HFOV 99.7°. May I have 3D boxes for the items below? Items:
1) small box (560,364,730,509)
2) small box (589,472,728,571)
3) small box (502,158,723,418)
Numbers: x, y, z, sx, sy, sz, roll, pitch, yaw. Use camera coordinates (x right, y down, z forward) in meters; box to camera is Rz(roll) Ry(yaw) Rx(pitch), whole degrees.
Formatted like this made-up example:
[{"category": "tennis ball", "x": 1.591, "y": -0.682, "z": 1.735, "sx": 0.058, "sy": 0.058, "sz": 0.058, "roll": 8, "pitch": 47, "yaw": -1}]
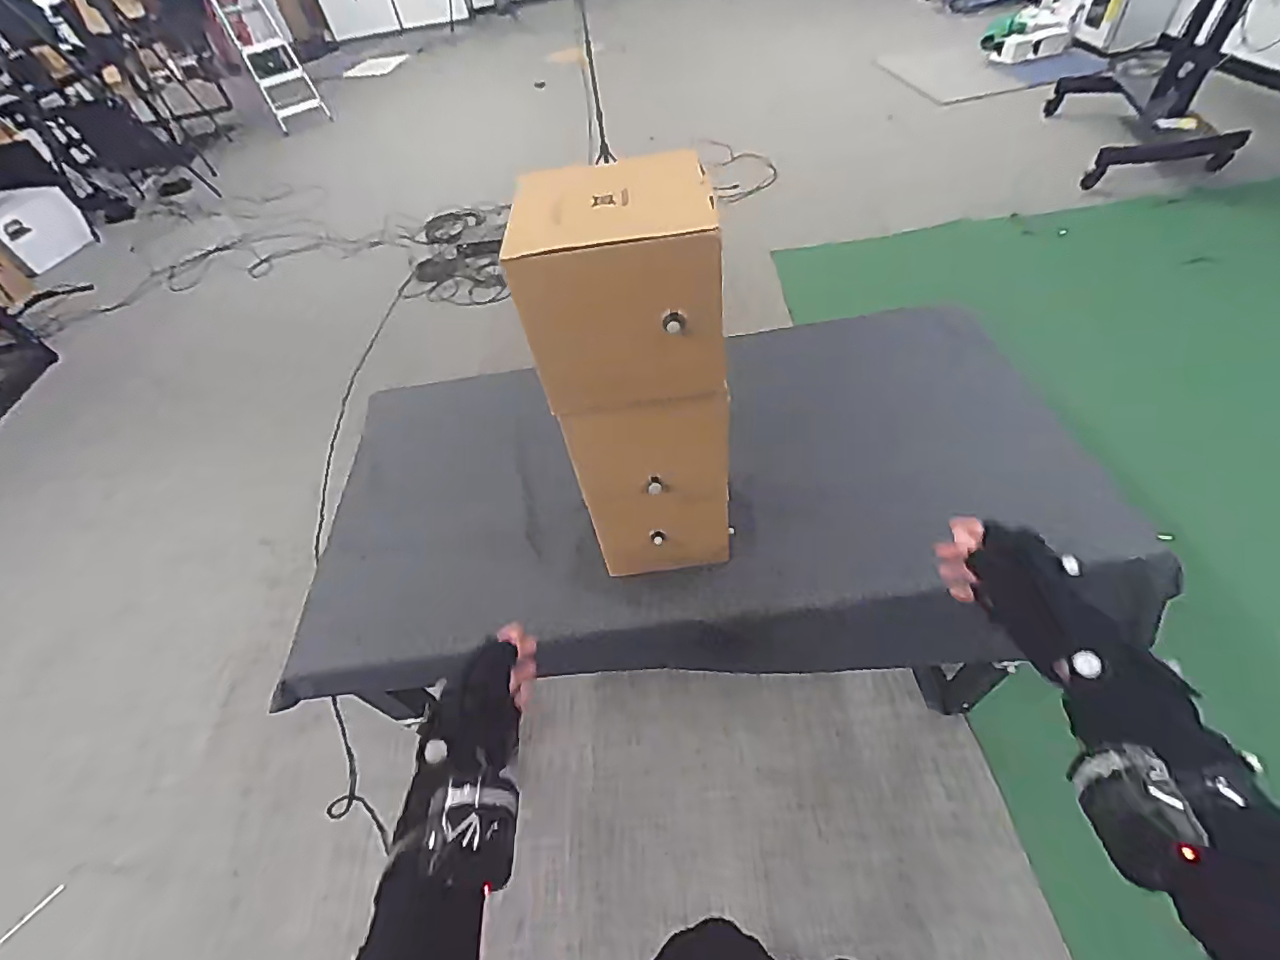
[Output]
[{"category": "small box", "x": 0.010, "y": -0.083, "z": 0.657, "sx": 0.179, "sy": 0.176, "sz": 0.168, "roll": -7, "pitch": 49, "yaw": 4}, {"category": "small box", "x": 0.031, "y": 0.017, "z": 0.782, "sx": 0.179, "sy": 0.176, "sz": 0.168, "roll": -5, "pitch": 48, "yaw": 5}, {"category": "small box", "x": -0.015, "y": -0.182, "z": 0.530, "sx": 0.179, "sy": 0.176, "sz": 0.168, "roll": -8, "pitch": 48, "yaw": 5}]
